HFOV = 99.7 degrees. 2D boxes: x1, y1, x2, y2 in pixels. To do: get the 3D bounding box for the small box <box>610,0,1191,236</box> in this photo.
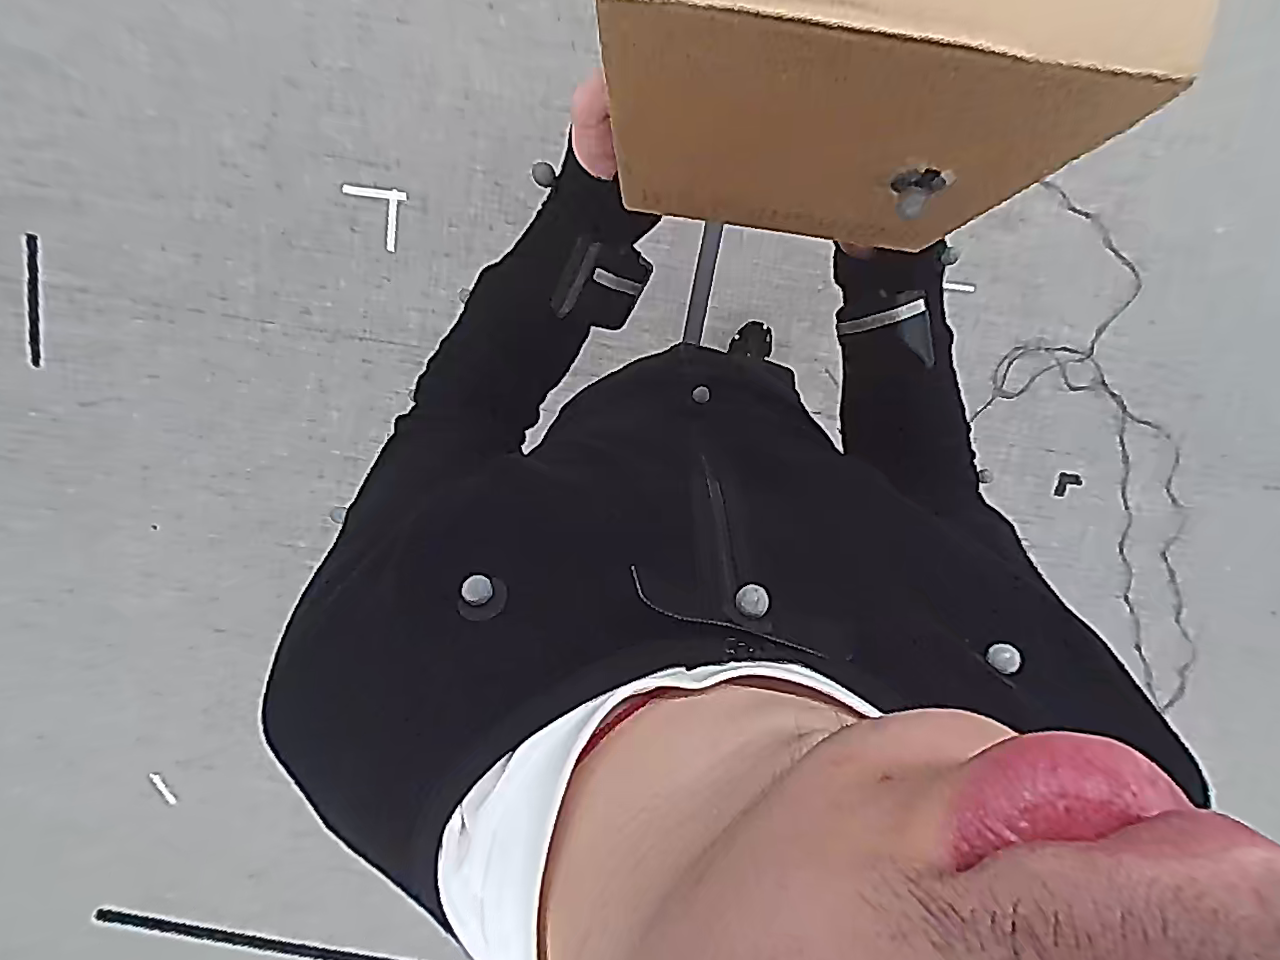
[{"bbox_3d":[0.088,-0.222,0.233,0.179,0.176,0.168,8,96,1],"label":"small box"}]
